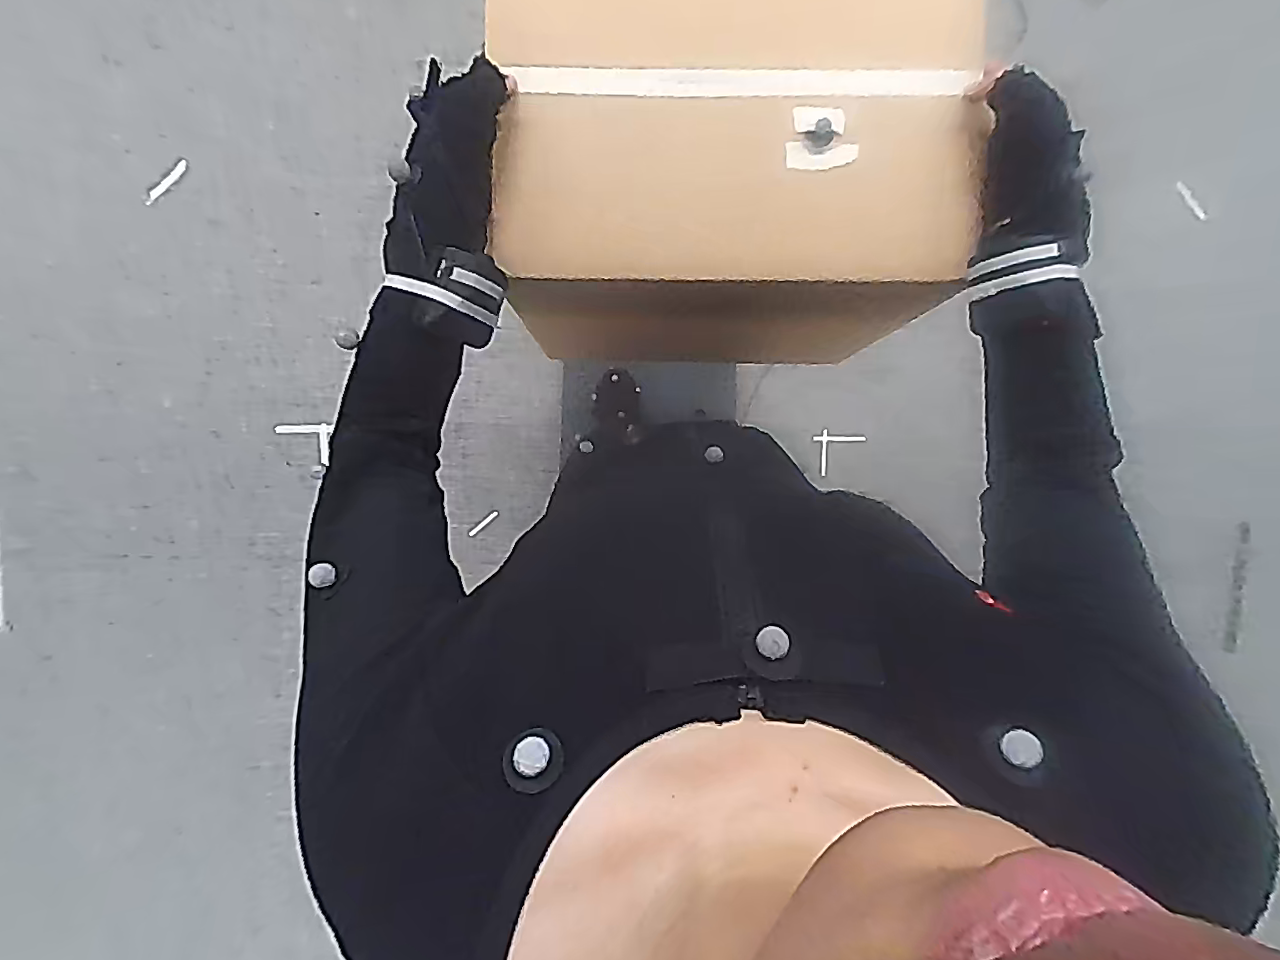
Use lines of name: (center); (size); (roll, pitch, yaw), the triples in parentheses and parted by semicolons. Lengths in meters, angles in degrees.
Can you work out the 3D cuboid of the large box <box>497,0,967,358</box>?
large box: (0.075, -0.327, 0.606); (0.408, 0.320, 0.320); (0, 90, -1)
